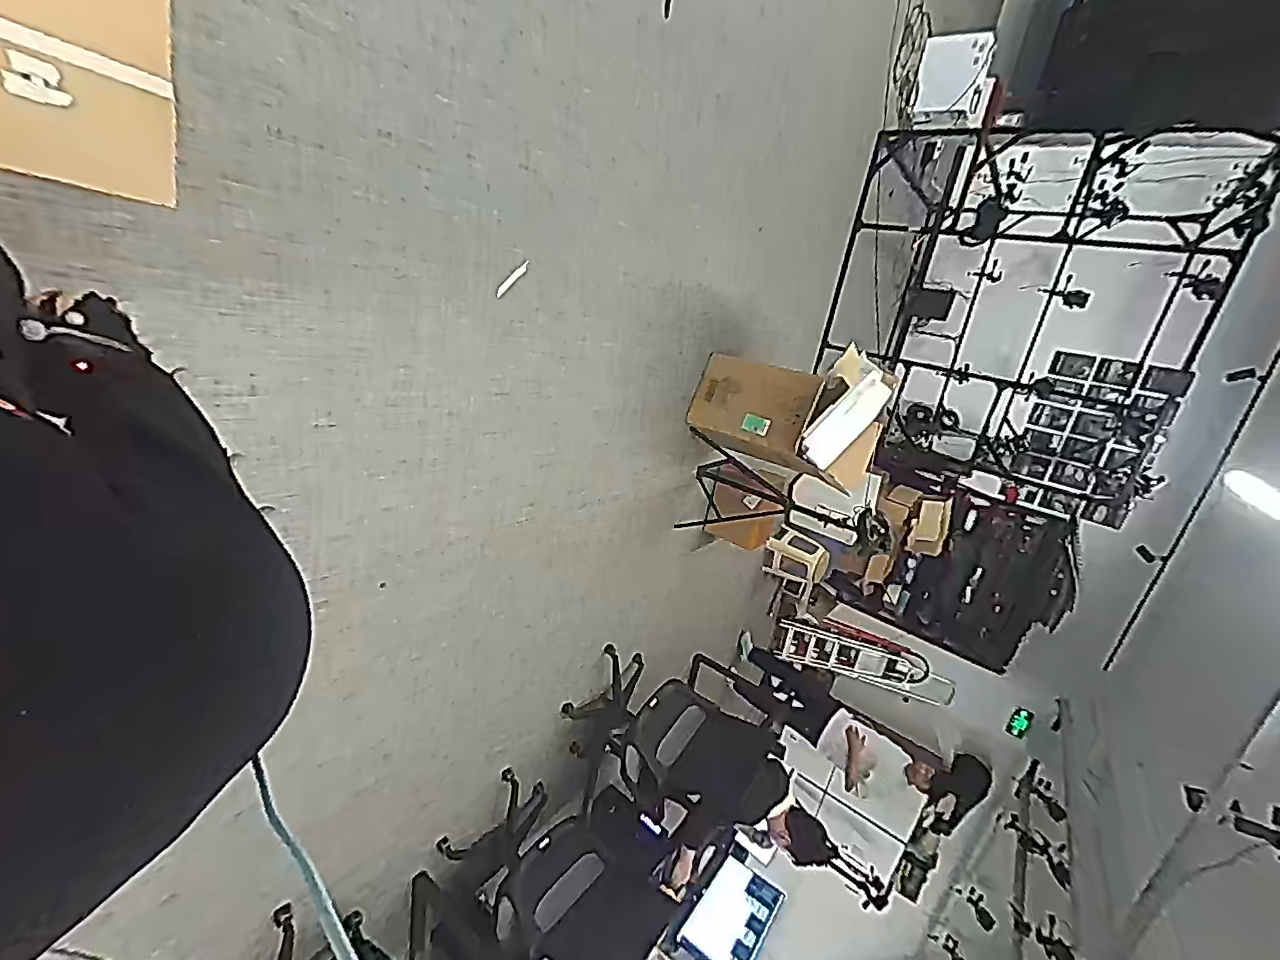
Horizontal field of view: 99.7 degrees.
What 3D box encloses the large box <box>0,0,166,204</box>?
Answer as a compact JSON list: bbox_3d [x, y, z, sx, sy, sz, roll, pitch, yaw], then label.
[{"bbox_3d":[-0.915,-0.576,0.681,0.408,0.320,0.320,-12,119,-56],"label":"large box"}]
